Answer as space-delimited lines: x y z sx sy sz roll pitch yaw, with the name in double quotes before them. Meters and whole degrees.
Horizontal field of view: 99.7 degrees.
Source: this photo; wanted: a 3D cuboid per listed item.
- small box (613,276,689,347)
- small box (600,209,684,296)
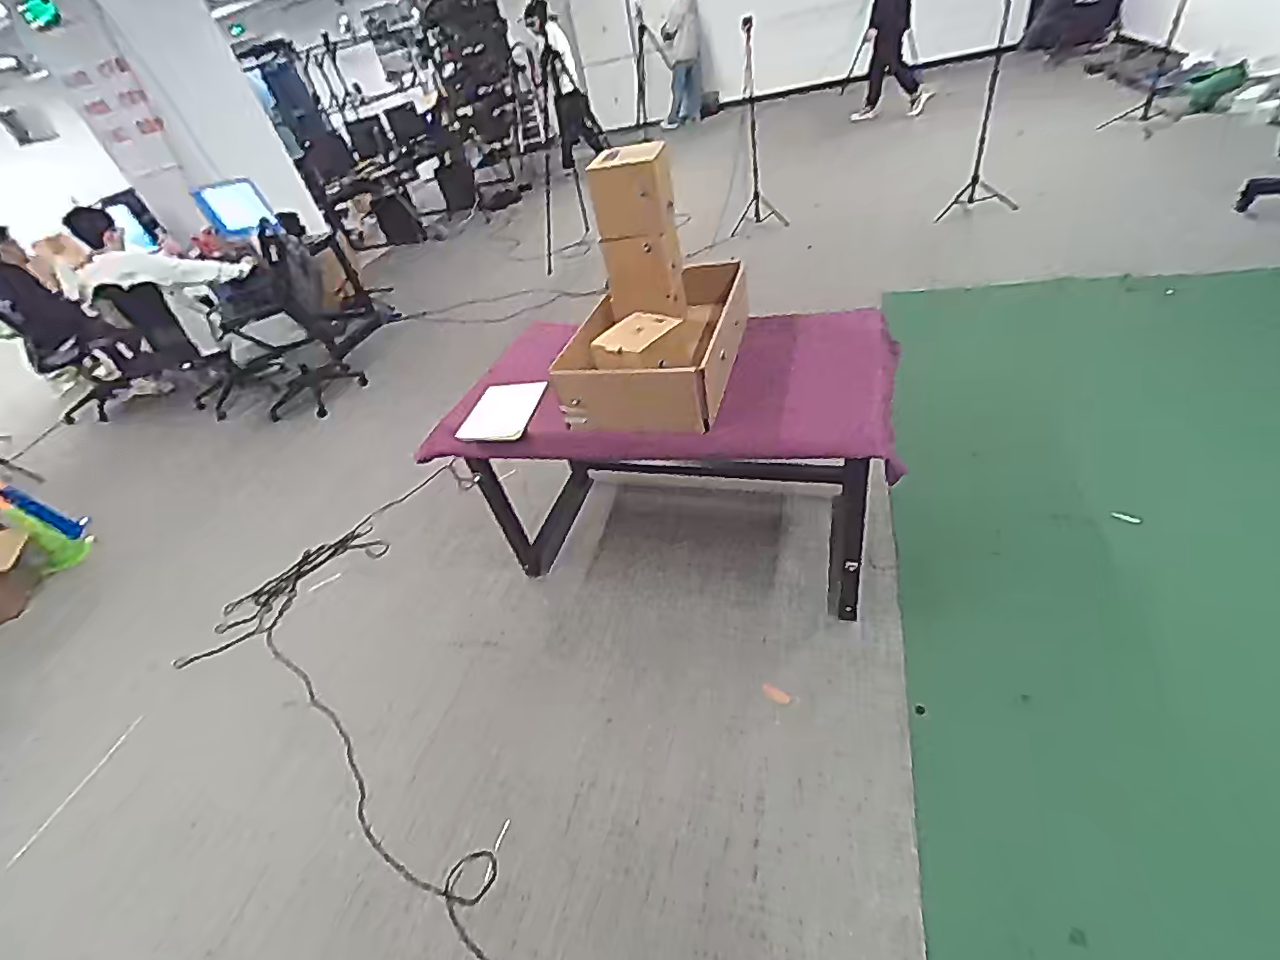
"small box" 0.041 -0.506 1.598 0.168 0.176 0.179 4 46 21
"small box" 0.012 -0.620 1.487 0.179 0.176 0.168 2 45 19
